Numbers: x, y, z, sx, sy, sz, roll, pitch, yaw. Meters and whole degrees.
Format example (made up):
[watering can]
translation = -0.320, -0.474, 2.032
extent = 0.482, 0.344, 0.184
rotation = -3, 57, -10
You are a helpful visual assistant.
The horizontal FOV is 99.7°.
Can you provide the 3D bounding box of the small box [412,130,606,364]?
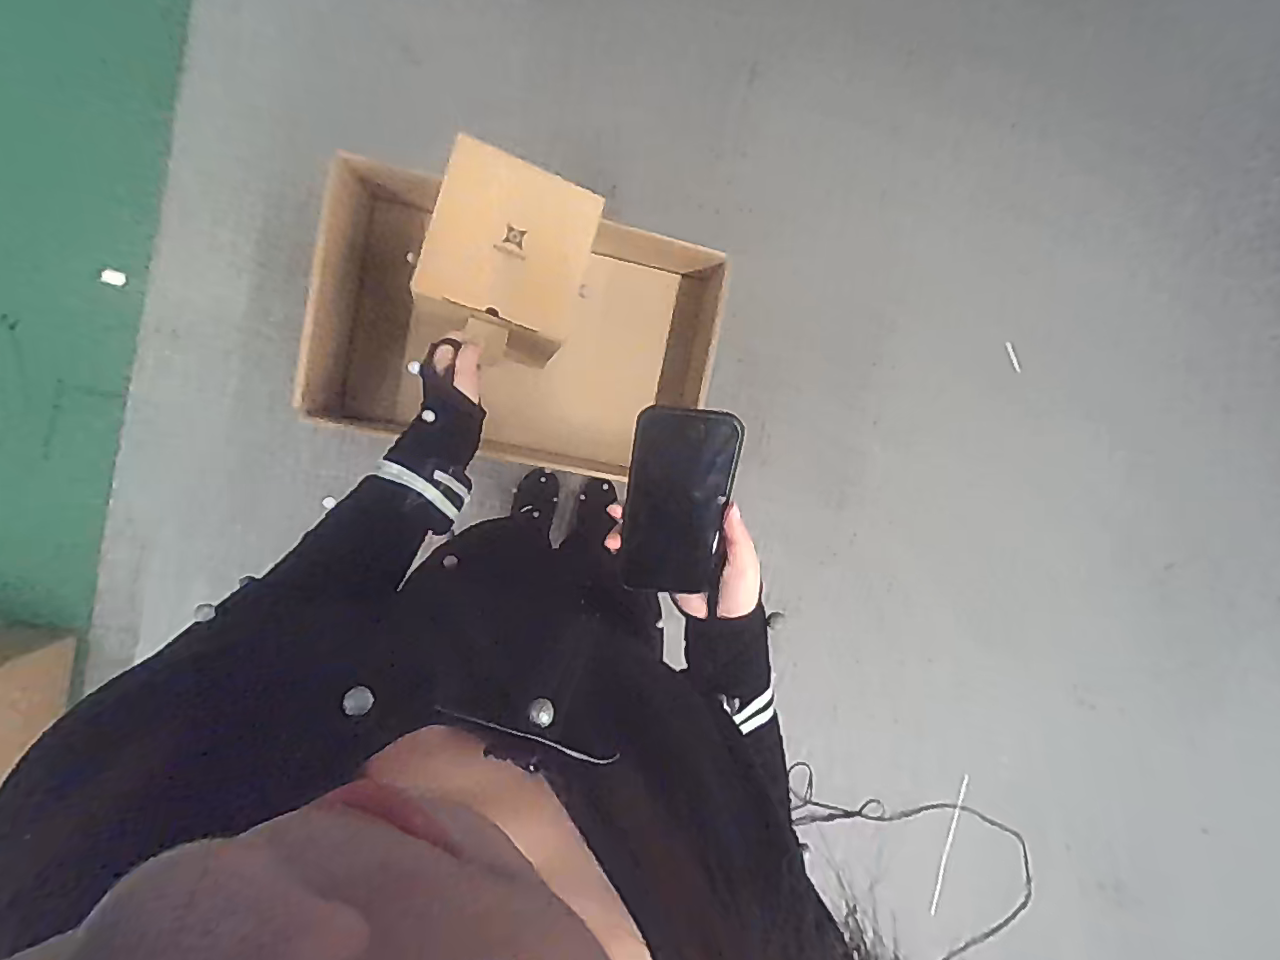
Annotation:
[small box]
translation = -0.161, -0.257, 0.647
extent = 0.168, 0.176, 0.179
rotation = 17, 87, -19
